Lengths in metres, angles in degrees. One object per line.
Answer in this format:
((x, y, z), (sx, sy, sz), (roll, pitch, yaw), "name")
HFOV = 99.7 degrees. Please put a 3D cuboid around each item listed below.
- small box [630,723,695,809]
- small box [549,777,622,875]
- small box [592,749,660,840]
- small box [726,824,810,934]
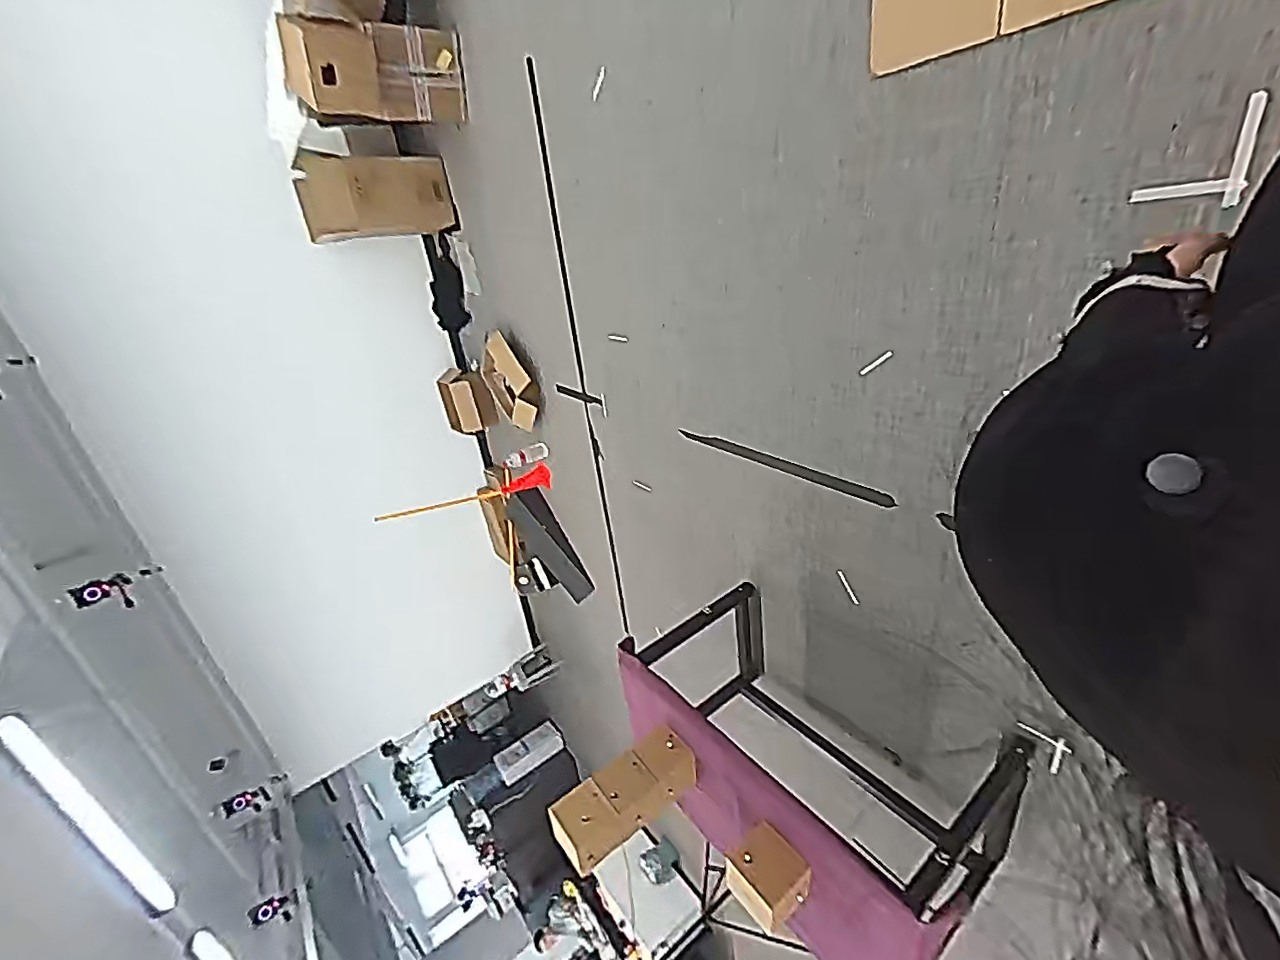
((0.085, 1.022, 1.944), (0.168, 0.176, 0.179), (28, 133, 46), "small box")
((-0.174, 1.127, 1.773), (0.168, 0.176, 0.179), (30, 135, 44), "small box")
((-0.045, 1.075, 1.859), (0.168, 0.176, 0.179), (30, 135, 44), "small box")
((0.373, 1.159, 1.589), (0.179, 0.176, 0.168), (29, 134, 45), "small box")
